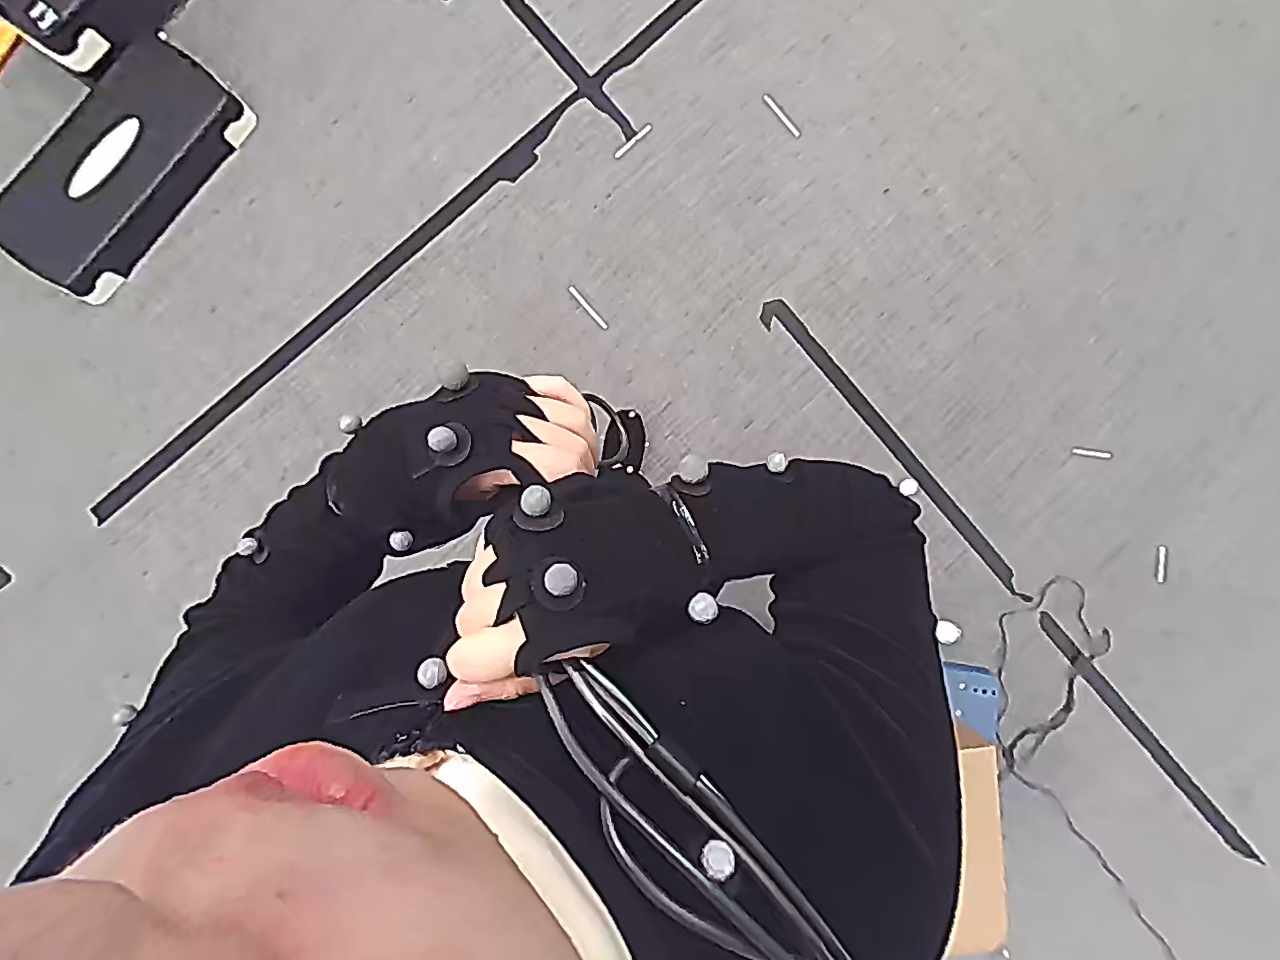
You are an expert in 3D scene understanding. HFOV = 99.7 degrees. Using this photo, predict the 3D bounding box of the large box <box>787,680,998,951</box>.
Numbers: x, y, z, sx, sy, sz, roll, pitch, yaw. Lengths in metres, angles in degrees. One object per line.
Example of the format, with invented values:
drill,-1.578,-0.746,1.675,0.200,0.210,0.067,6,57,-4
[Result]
large box,0.540,0.714,1.214,0.320,0.320,0.408,-3,91,-3
